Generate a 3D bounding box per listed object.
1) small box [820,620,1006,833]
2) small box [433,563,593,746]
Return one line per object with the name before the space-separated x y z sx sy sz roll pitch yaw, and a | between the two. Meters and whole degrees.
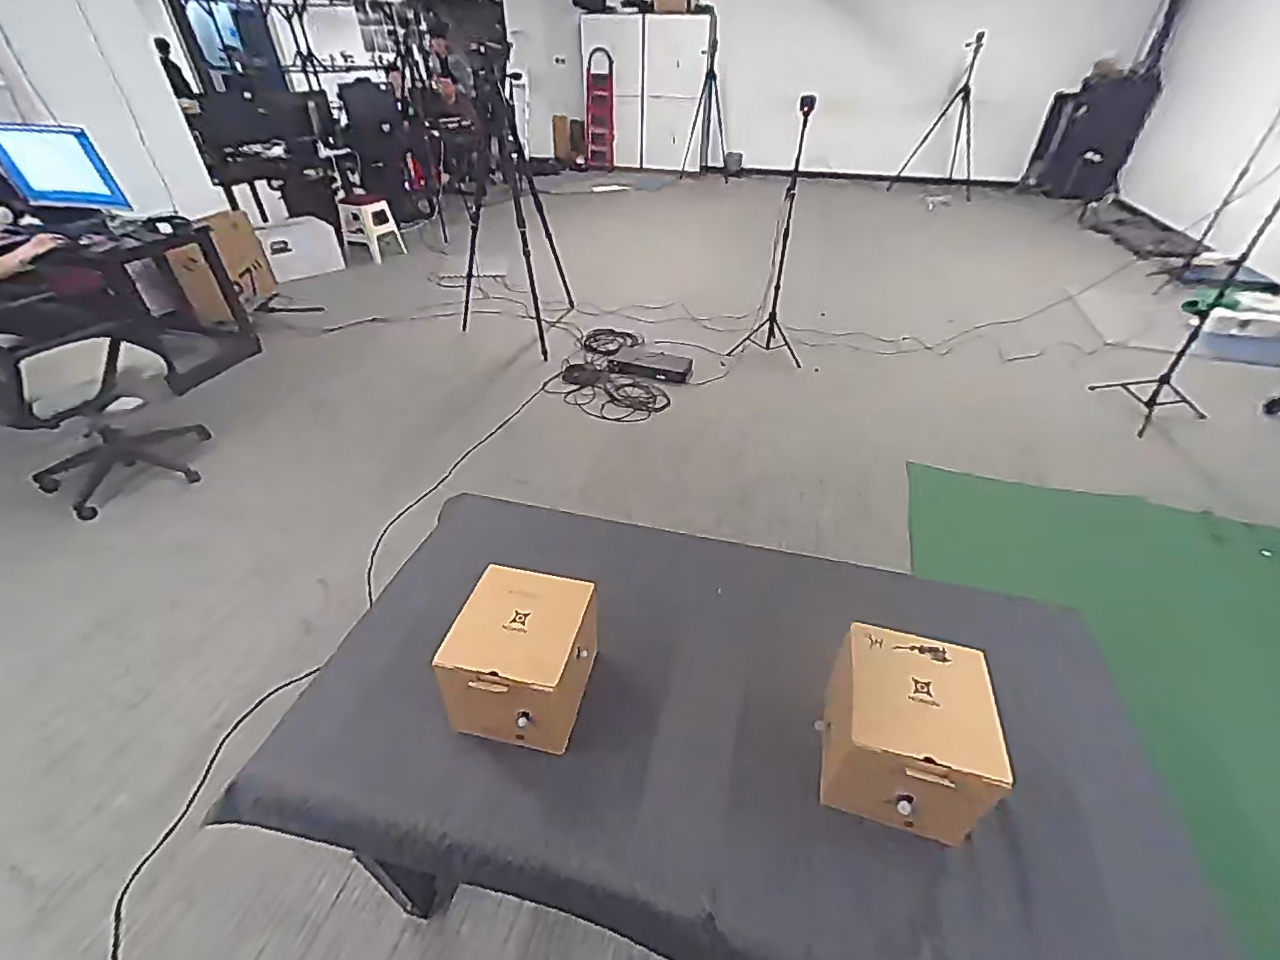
small box | 0.336 0.319 0.701 0.168 0.176 0.179 11 40 13
small box | -0.166 0.250 0.777 0.168 0.176 0.179 9 38 7
